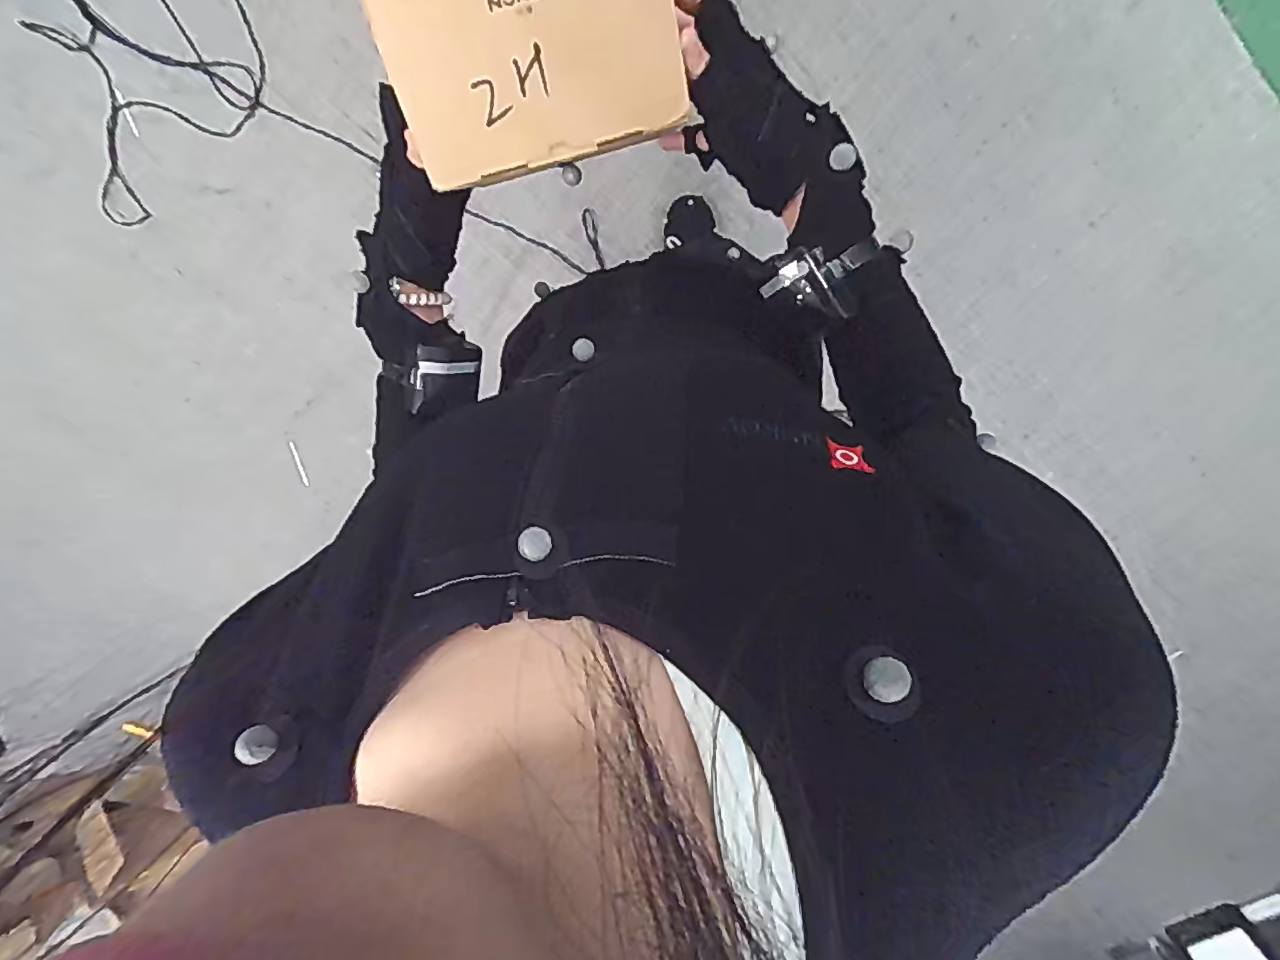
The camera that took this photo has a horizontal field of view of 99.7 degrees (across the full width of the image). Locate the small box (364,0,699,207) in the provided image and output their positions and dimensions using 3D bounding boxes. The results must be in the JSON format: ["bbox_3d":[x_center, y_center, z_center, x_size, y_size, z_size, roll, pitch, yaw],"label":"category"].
[{"bbox_3d":[-0.068,-0.294,0.354,0.168,0.176,0.179,-14,120,3],"label":"small box"}]
